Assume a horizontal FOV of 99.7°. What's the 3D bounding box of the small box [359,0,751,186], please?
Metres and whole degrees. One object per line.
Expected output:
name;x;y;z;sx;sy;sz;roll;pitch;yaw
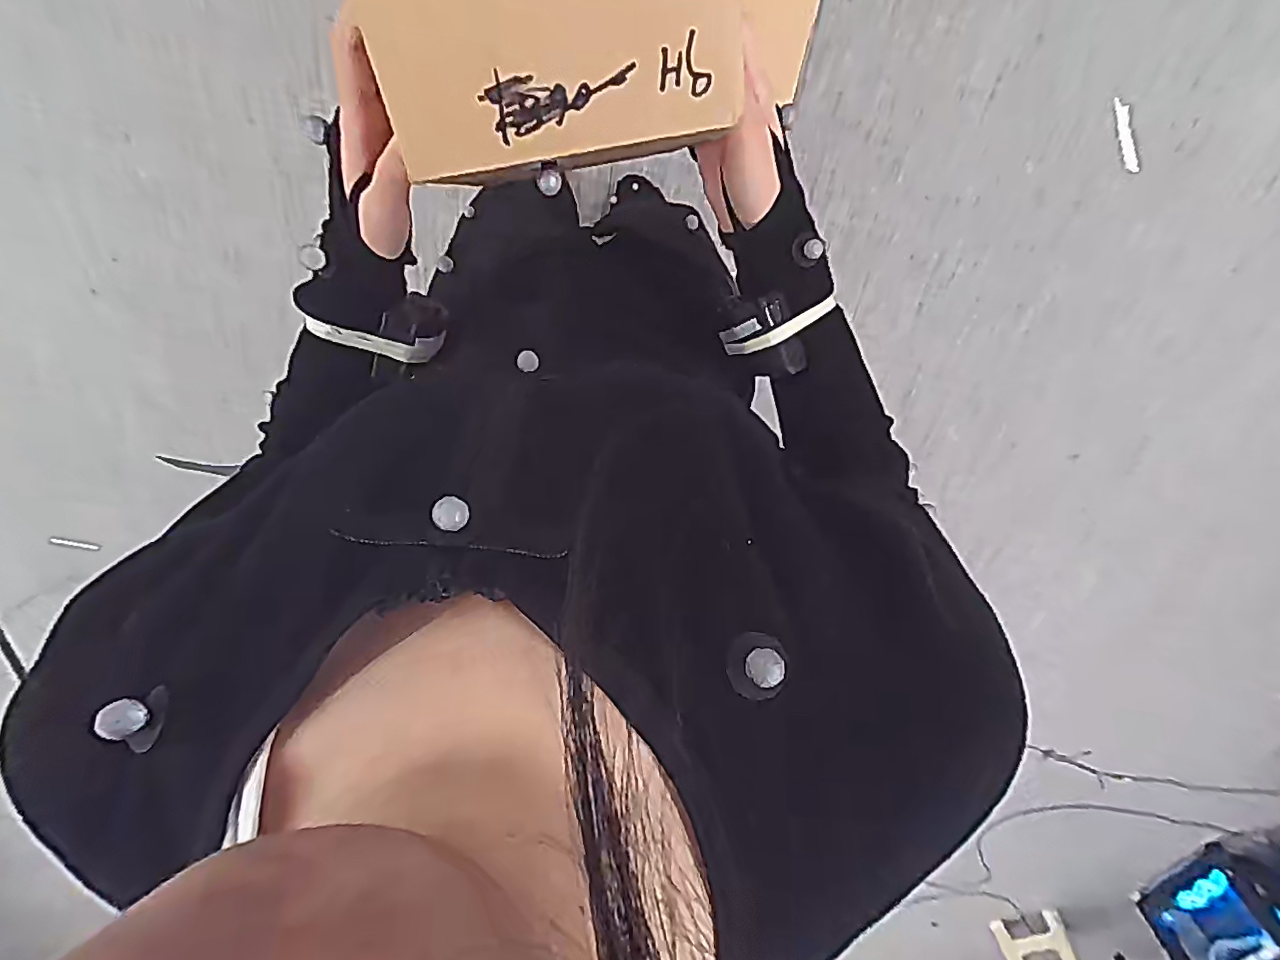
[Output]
small box;-0.048;-0.266;0.285;0.168;0.176;0.179;-10;119;-1
